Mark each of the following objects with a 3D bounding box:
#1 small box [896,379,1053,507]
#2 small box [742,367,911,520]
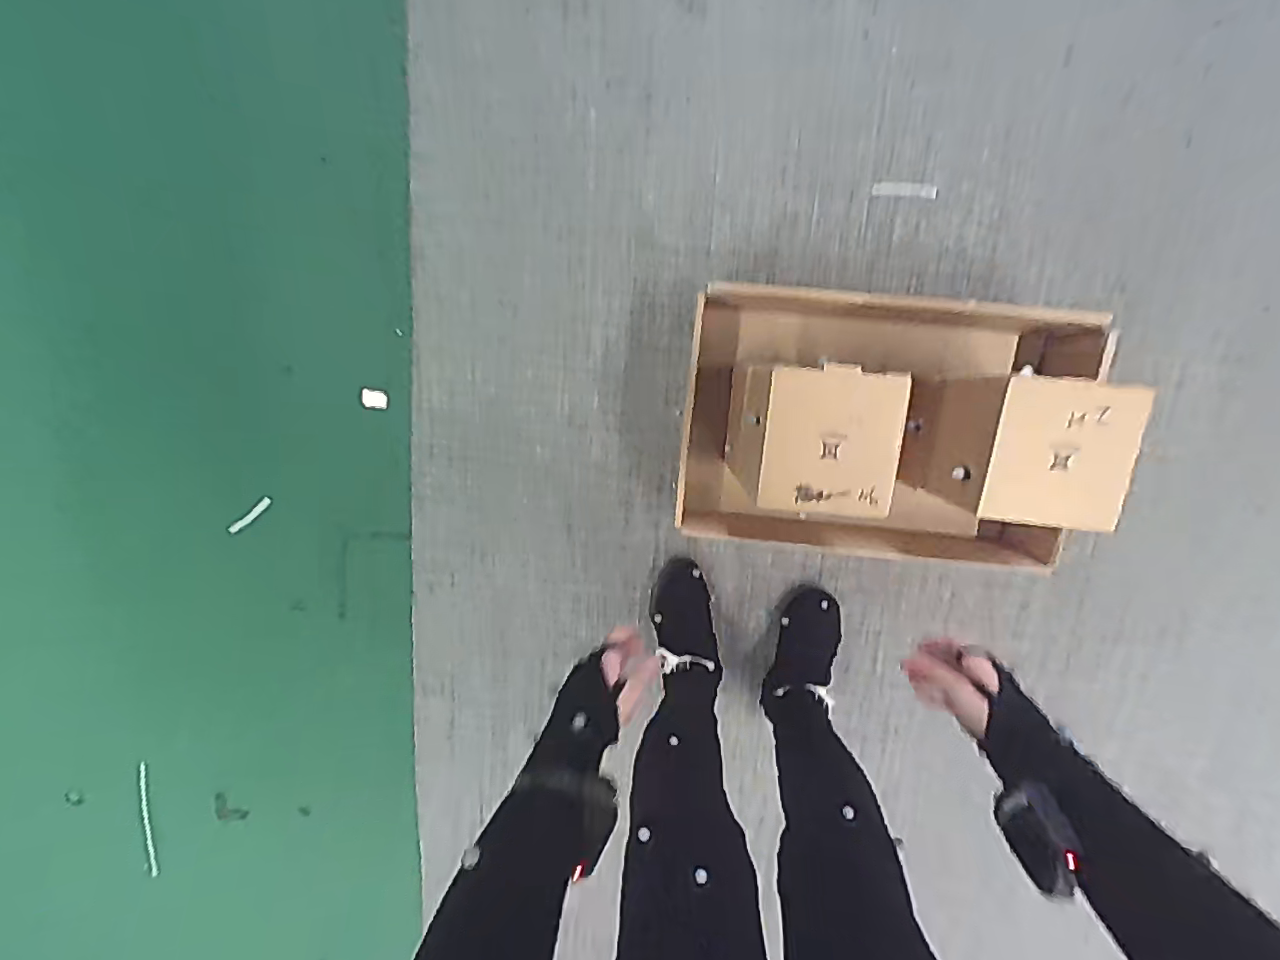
[{"bbox_3d":[0.517,-0.068,0.885,0.168,0.176,0.179,7,101,3],"label":"small box"},{"bbox_3d":[0.237,-0.056,0.733,0.168,0.176,0.179,5,101,2],"label":"small box"}]
